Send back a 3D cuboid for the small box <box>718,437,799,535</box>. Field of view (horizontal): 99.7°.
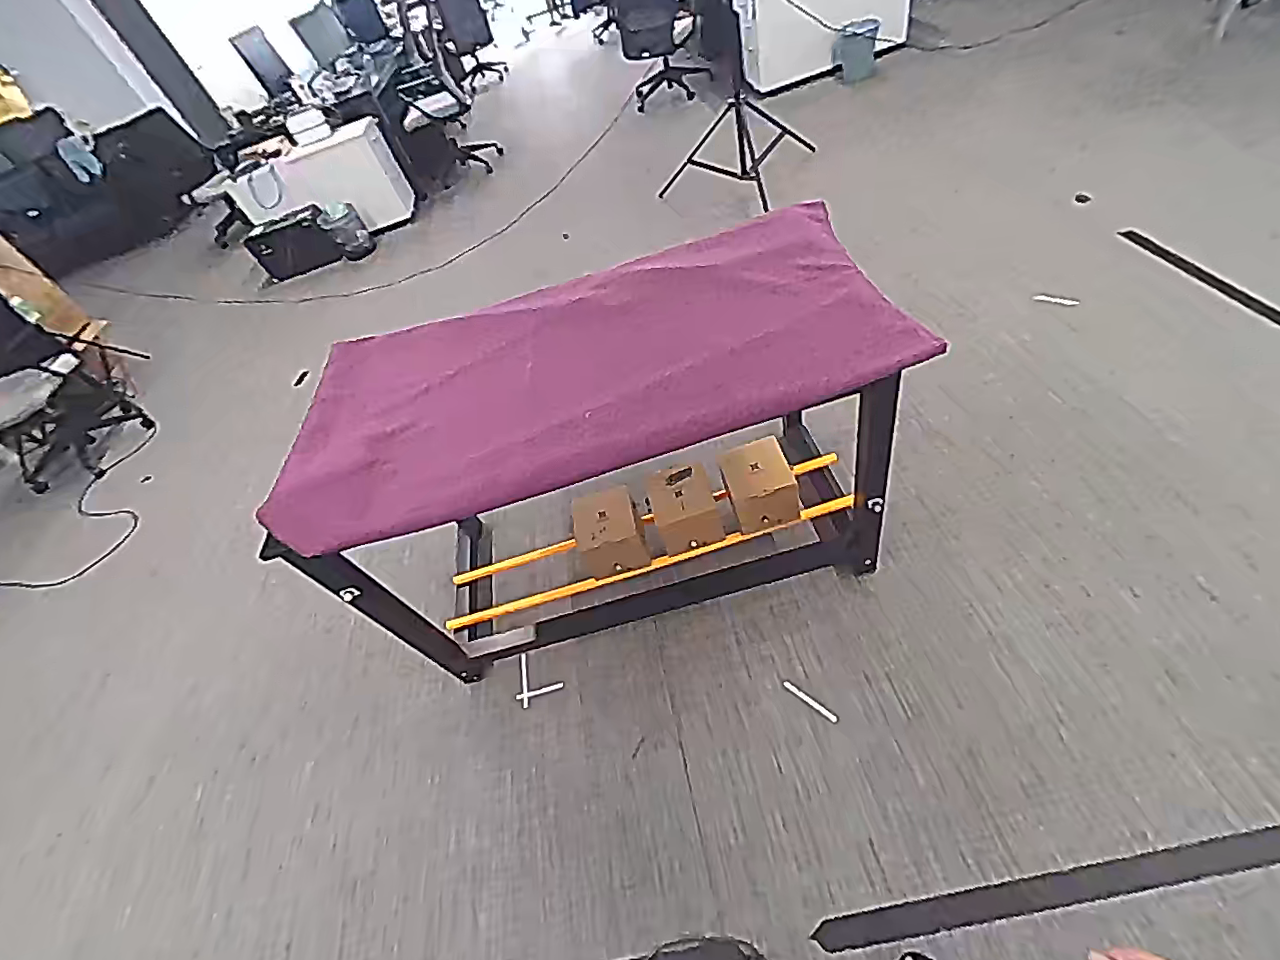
[{"bbox_3d":[0.319,0.018,1.461,0.168,0.176,0.179,-18,50,4],"label":"small box"}]

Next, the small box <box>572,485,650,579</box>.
[{"bbox_3d":[-0.079,0.146,1.493,0.168,0.176,0.179,-16,50,5],"label":"small box"}]
